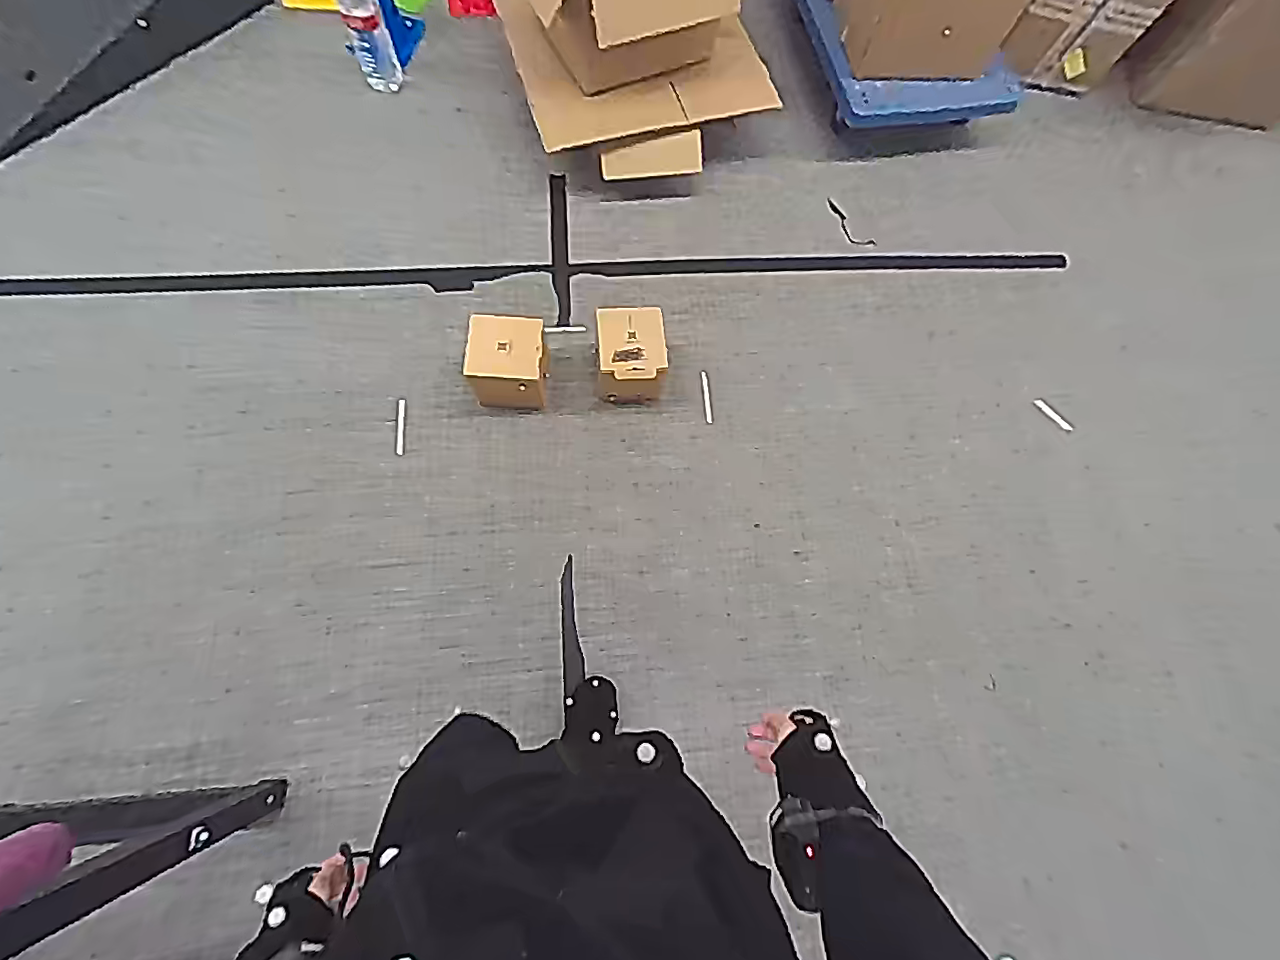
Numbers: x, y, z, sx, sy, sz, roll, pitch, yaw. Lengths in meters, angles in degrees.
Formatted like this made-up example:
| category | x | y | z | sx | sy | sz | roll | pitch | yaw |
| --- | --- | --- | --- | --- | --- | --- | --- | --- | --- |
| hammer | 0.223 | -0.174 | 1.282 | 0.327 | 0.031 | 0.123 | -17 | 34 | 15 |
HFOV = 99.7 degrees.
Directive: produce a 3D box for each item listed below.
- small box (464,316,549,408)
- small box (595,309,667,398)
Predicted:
| category | x | y | z | sx | sy | sz | roll | pitch | yaw |
| --- | --- | --- | --- | --- | --- | --- | --- | --- | --- |
| small box | -0.328 | -0.288 | 1.355 | 0.179 | 0.176 | 0.168 | 2 | 74 | -5 |
| small box | -0.028 | -0.318 | 1.392 | 0.168 | 0.176 | 0.179 | -4 | 74 | -7 |
